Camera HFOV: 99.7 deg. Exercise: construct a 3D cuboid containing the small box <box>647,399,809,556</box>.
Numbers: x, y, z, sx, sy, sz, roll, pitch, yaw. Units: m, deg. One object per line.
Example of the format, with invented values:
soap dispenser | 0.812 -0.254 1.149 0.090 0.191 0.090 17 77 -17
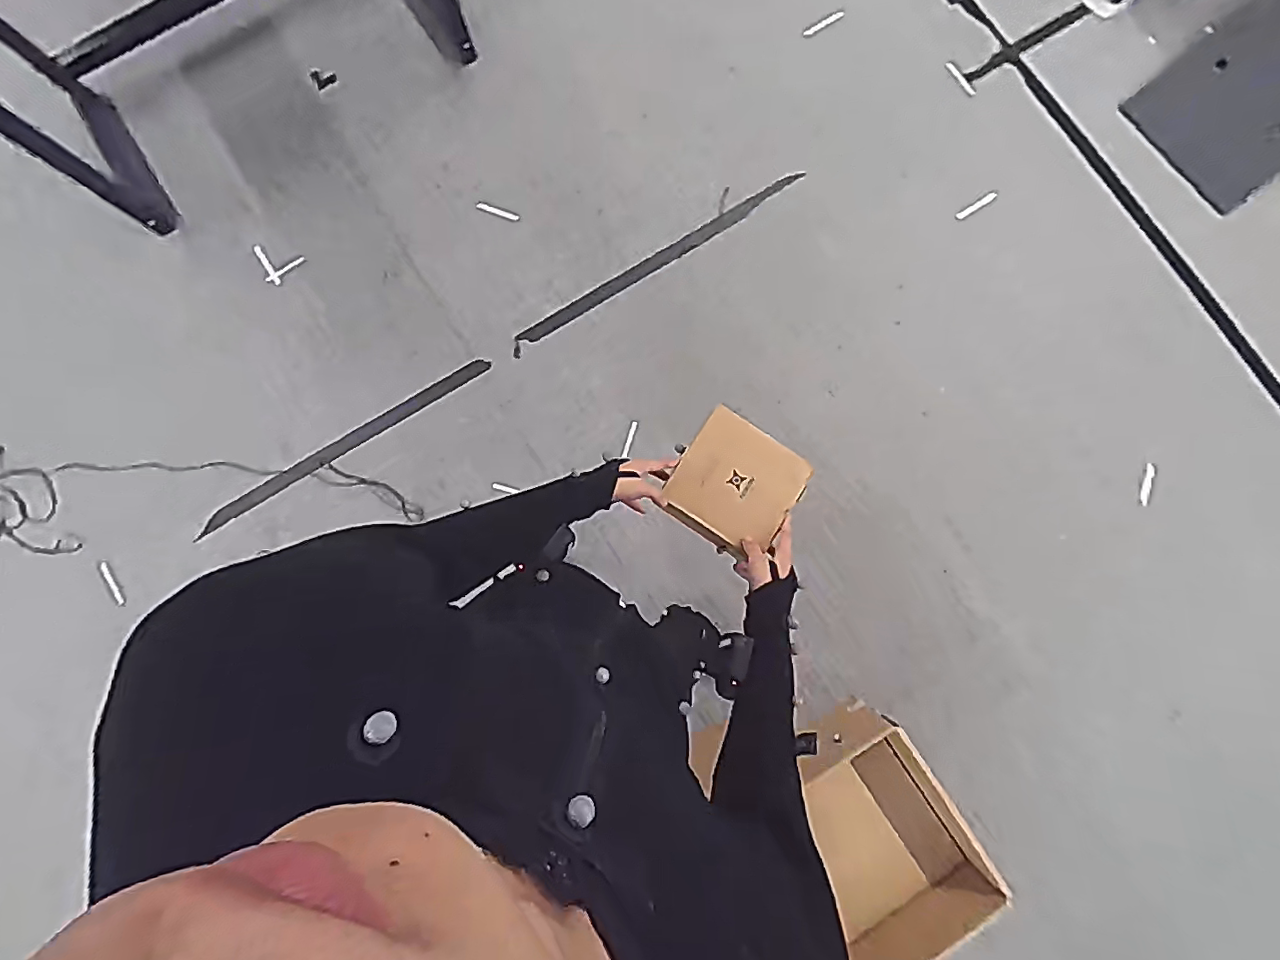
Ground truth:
small box | 0.127 0.001 0.853 0.179 0.176 0.168 33 84 1
